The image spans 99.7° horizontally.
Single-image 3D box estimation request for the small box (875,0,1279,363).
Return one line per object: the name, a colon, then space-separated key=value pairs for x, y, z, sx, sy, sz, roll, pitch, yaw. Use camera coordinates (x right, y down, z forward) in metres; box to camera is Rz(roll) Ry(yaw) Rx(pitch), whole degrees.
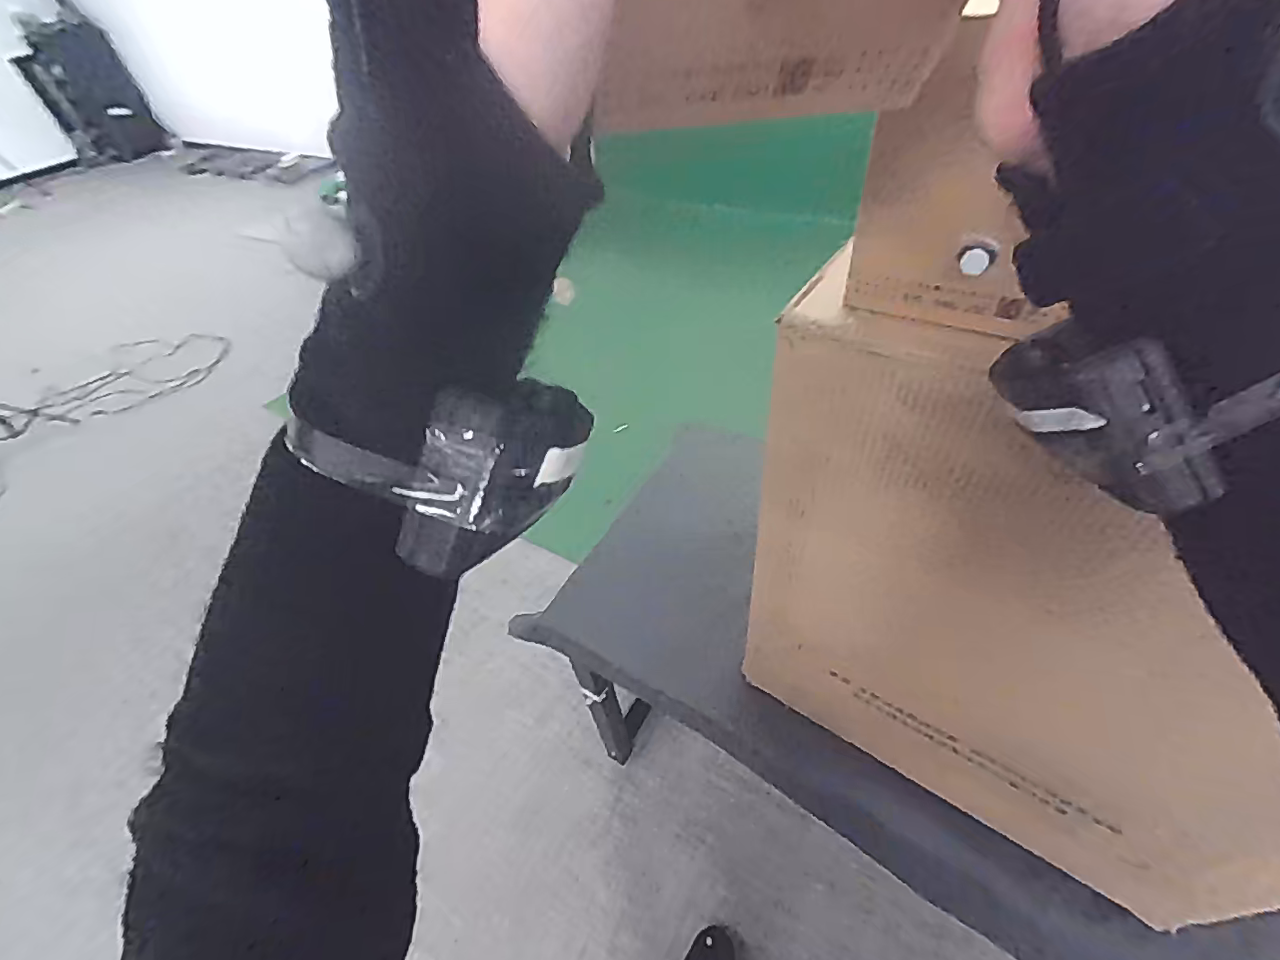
small box: x=0.271 y=-0.204 z=0.342 sx=0.168 sy=0.176 sz=0.179 roll=25 pitch=56 yaw=28
